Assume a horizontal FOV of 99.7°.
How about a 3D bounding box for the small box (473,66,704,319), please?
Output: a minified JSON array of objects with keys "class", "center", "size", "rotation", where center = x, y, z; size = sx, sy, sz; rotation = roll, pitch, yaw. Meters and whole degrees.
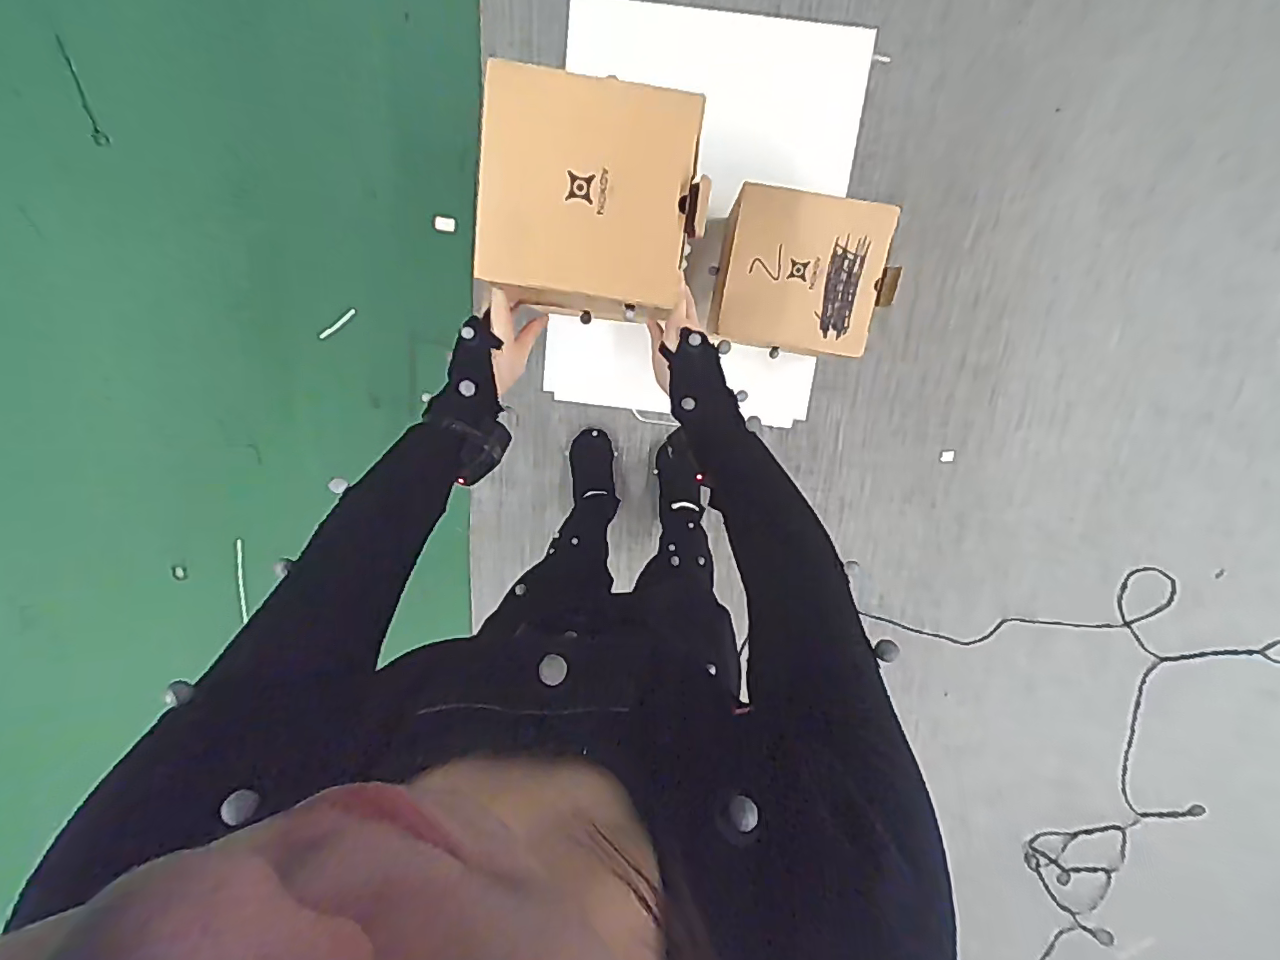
[{"class":"small box","center":[-0.047,-0.254,0.523],"size":[0.179,0.176,0.168],"rotation":[7,103,-4]}]
